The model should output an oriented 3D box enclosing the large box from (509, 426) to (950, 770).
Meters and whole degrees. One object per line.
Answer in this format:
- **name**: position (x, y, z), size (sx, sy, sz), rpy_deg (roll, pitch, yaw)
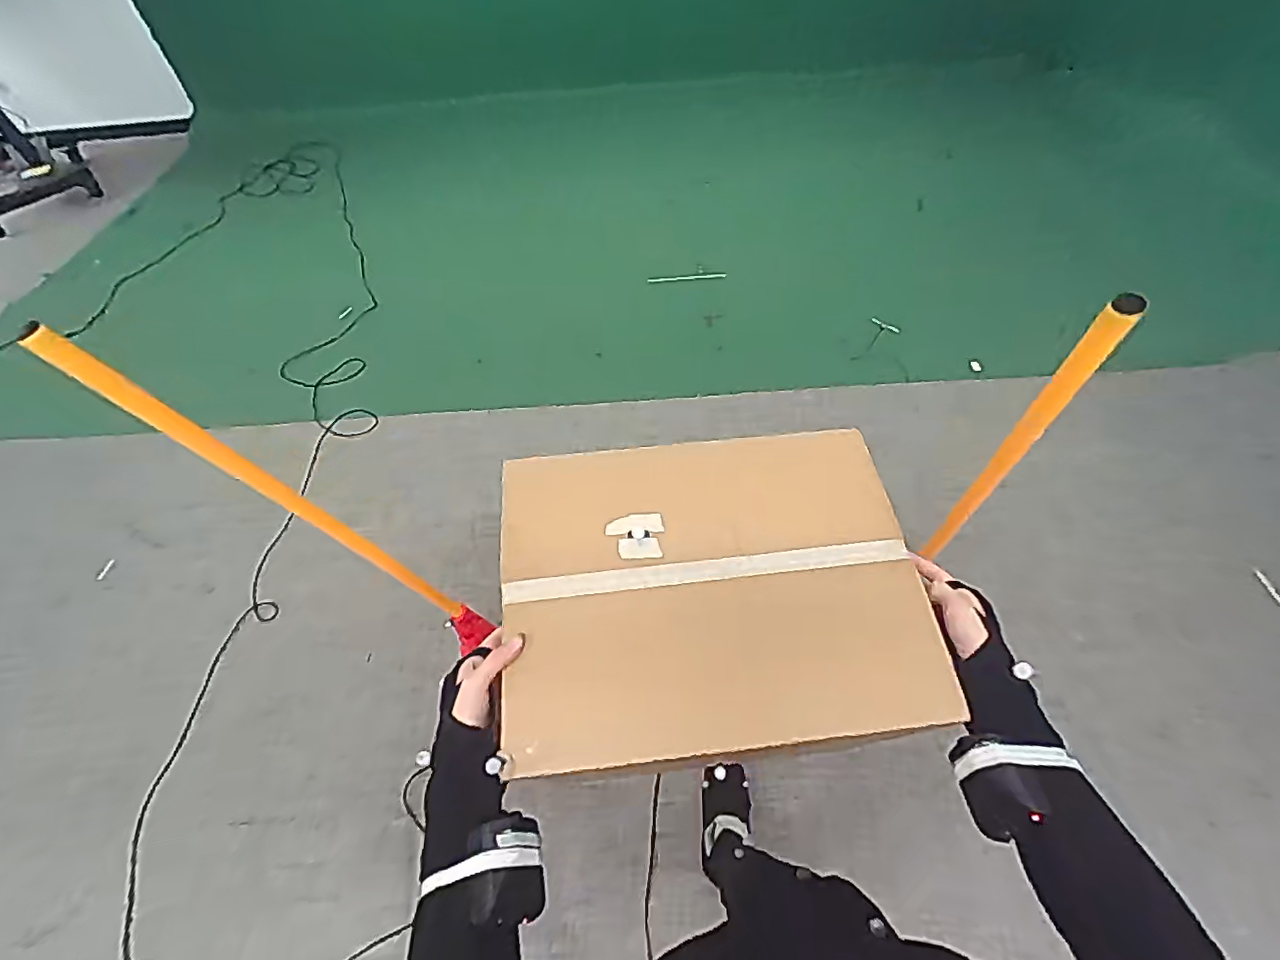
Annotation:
- **large box**: position (0.071, 0.164, 0.679), size (0.408, 0.320, 0.320), rpy_deg (-6, 60, -3)
